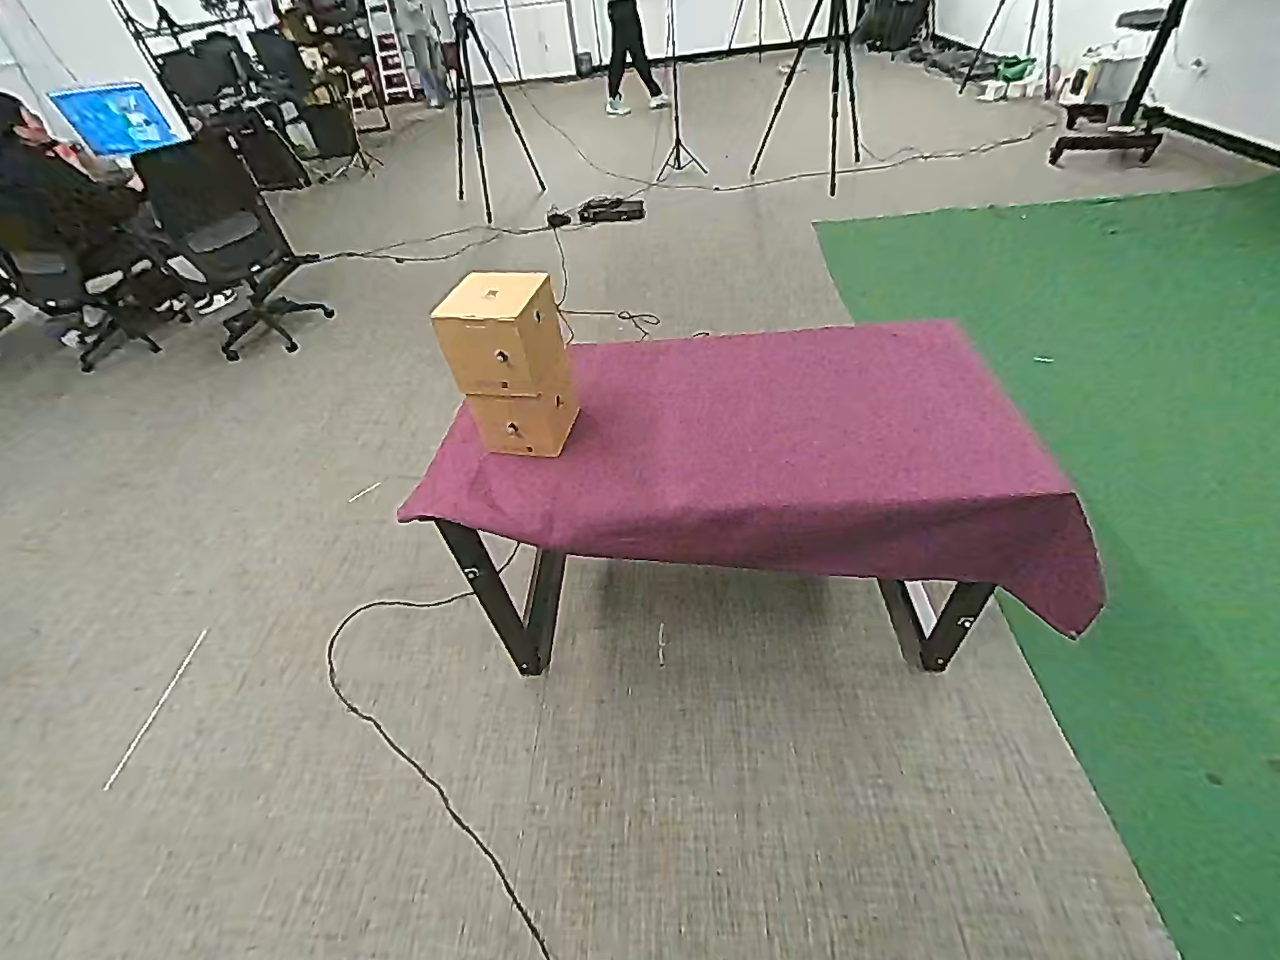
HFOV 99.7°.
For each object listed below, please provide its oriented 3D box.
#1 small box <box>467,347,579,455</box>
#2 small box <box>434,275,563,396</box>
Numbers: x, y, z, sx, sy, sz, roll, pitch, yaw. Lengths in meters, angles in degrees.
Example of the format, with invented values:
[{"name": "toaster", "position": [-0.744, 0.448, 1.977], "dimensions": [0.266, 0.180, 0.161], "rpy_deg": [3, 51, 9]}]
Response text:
[{"name": "small box", "position": [-0.240, -0.170, 1.166], "dimensions": [0.168, 0.176, 0.179], "rpy_deg": [4, 46, 12]}, {"name": "small box", "position": [-0.259, -0.279, 1.044], "dimensions": [0.168, 0.176, 0.179], "rpy_deg": [5, 46, 13]}]
